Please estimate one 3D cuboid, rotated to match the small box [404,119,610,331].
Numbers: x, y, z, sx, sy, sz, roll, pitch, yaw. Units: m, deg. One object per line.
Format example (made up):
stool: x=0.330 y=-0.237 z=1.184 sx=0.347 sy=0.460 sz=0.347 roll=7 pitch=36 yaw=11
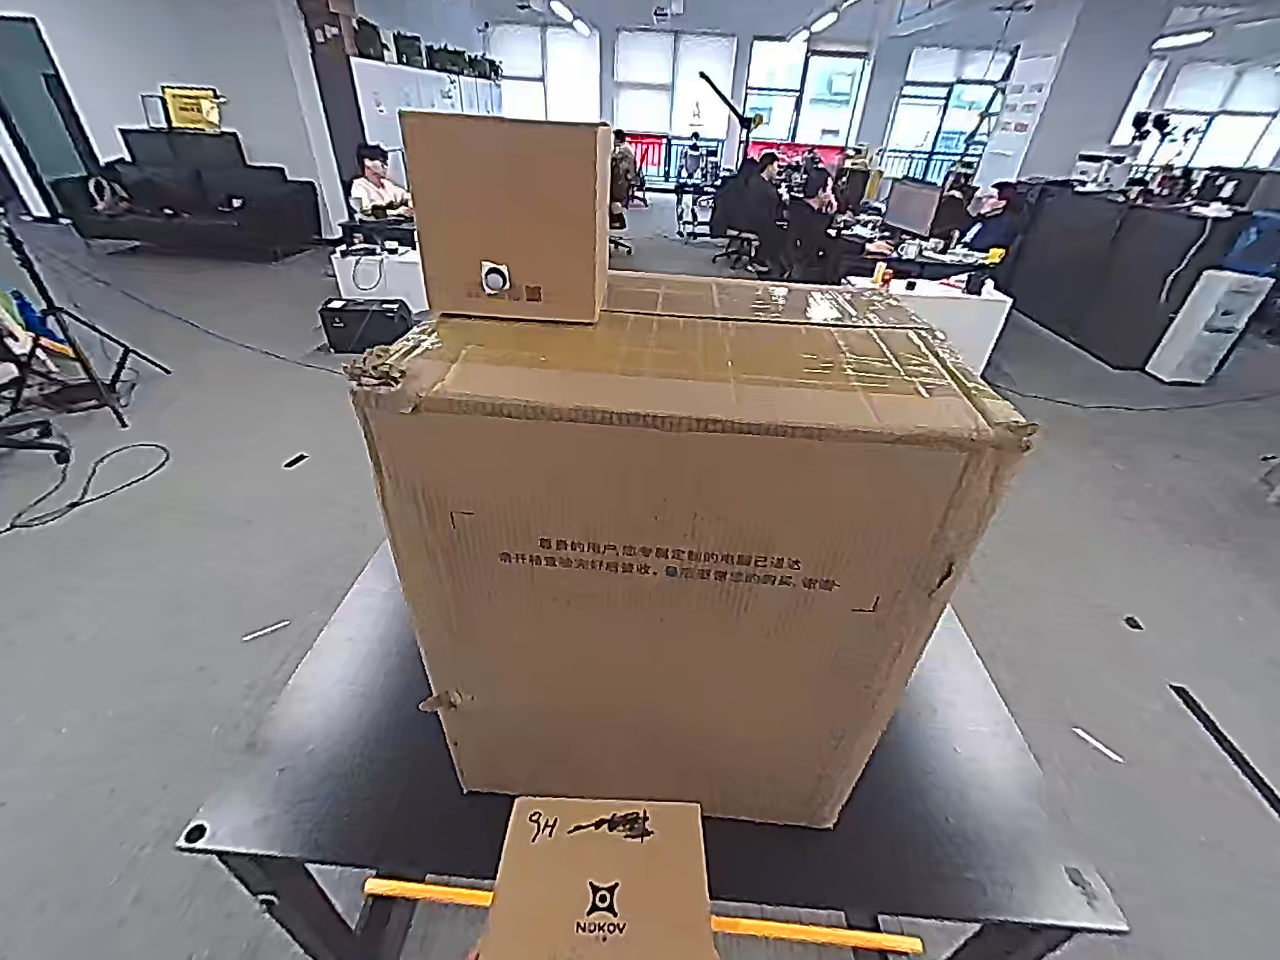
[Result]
small box: x=-0.118 y=-0.264 z=0.557 sx=0.168 sy=0.176 sz=0.179 roll=1 pitch=33 yaw=-1
